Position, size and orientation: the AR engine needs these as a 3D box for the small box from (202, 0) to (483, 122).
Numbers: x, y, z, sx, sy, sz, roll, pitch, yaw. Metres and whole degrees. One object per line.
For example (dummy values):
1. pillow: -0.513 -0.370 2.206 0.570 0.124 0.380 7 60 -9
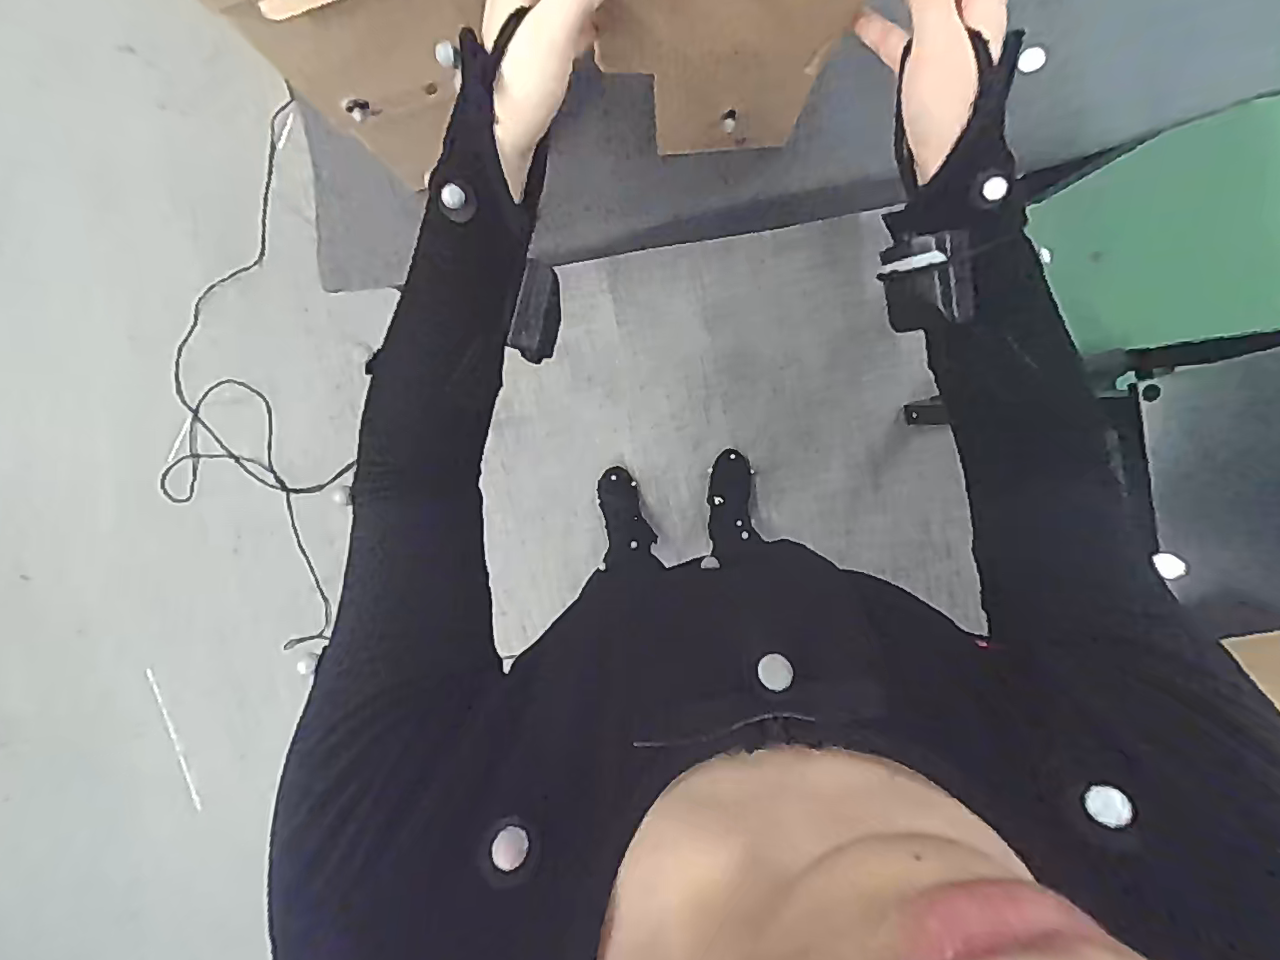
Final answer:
1. small box: -0.255 -0.444 0.457 0.168 0.176 0.179 -17 93 4

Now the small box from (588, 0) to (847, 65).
1. small box: 0.053 -0.384 0.325 0.179 0.176 0.168 -1 103 0

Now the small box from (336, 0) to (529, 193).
1. small box: -0.238 -0.464 0.620 0.179 0.176 0.168 -13 94 5

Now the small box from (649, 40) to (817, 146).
1. small box: 0.092 -0.497 0.598 0.168 0.176 0.179 -3 96 4
